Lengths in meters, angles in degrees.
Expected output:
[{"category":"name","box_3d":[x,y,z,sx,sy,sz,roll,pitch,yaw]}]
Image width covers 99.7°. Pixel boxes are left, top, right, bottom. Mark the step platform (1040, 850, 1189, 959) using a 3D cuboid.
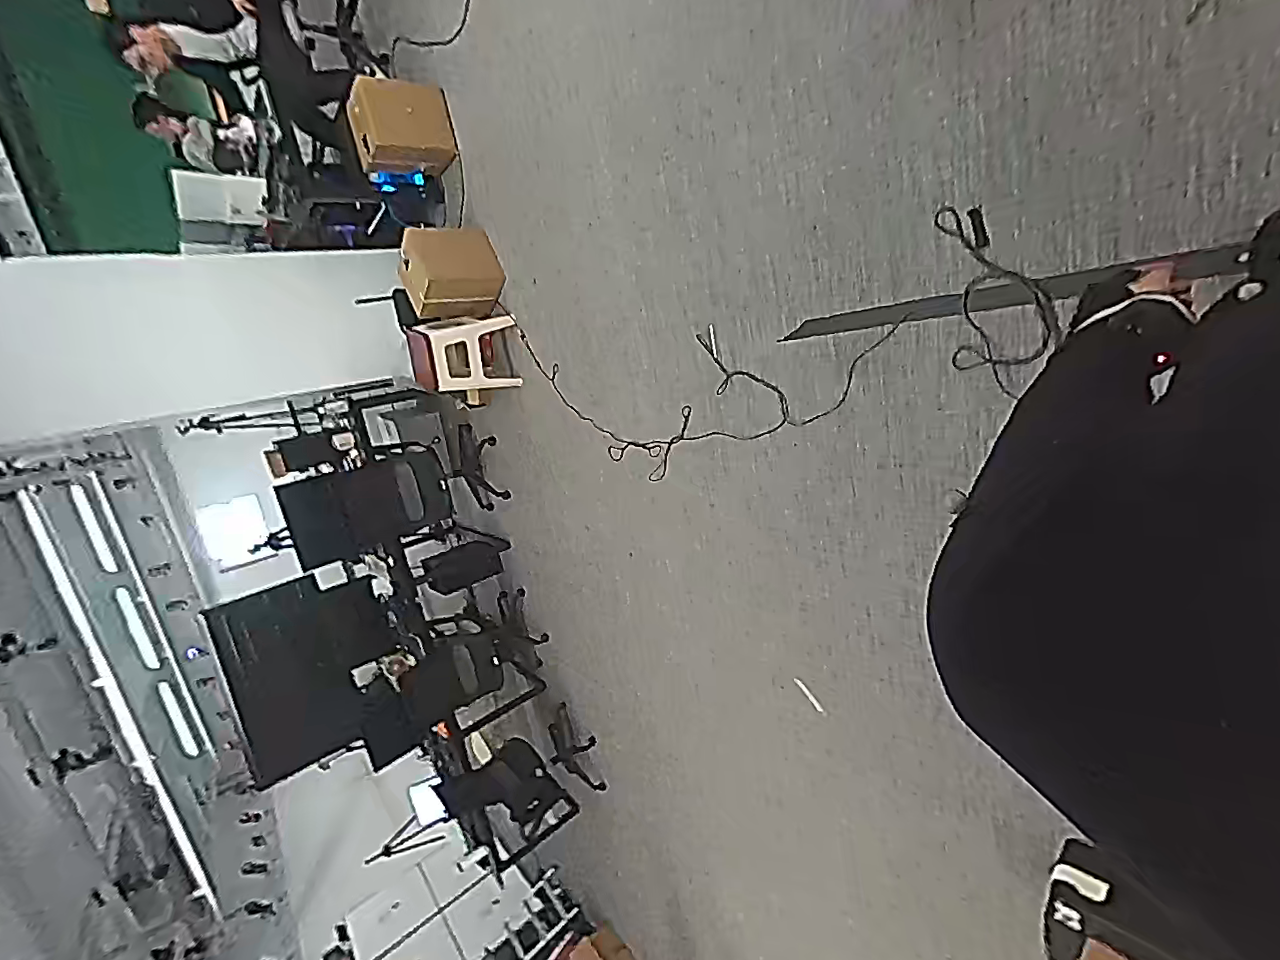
[{"category":"step platform","box_3d":[1.270,1.139,1.142,0.684,0.204,0.286,5,111,51]}]
